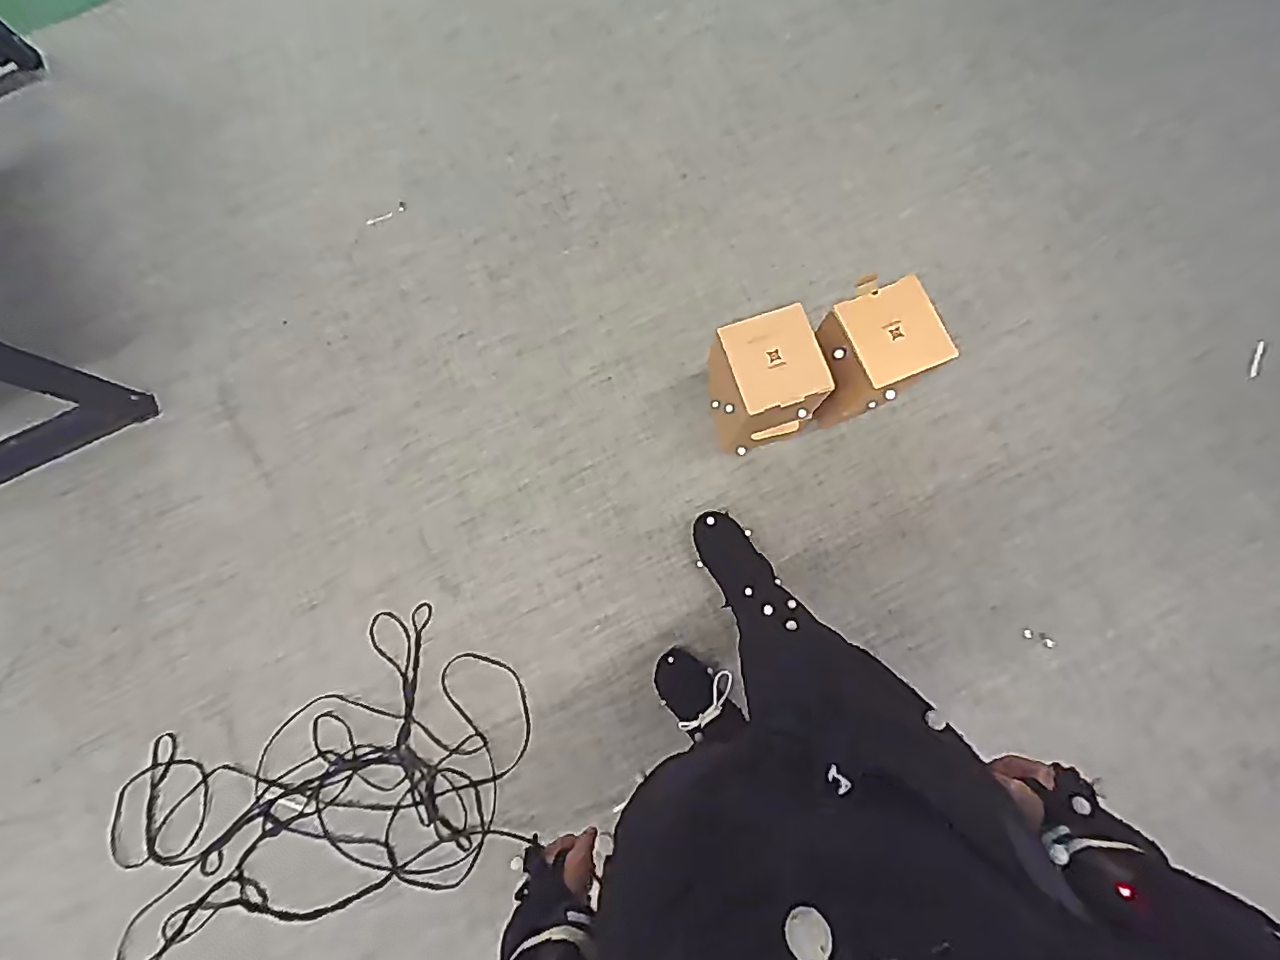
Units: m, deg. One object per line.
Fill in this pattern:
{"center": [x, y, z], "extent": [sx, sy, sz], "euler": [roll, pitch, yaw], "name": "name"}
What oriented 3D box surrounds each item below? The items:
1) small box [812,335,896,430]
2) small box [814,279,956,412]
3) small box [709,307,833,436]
{"center": [0.467, -0.235, 1.210], "extent": [0.168, 0.176, 0.179], "euler": [-22, 79, -3], "name": "small box"}
{"center": [0.458, -0.246, 1.046], "extent": [0.168, 0.176, 0.179], "euler": [-22, 80, -2], "name": "small box"}
{"center": [0.242, -0.196, 1.044], "extent": [0.168, 0.176, 0.179], "euler": [-18, 79, -3], "name": "small box"}
